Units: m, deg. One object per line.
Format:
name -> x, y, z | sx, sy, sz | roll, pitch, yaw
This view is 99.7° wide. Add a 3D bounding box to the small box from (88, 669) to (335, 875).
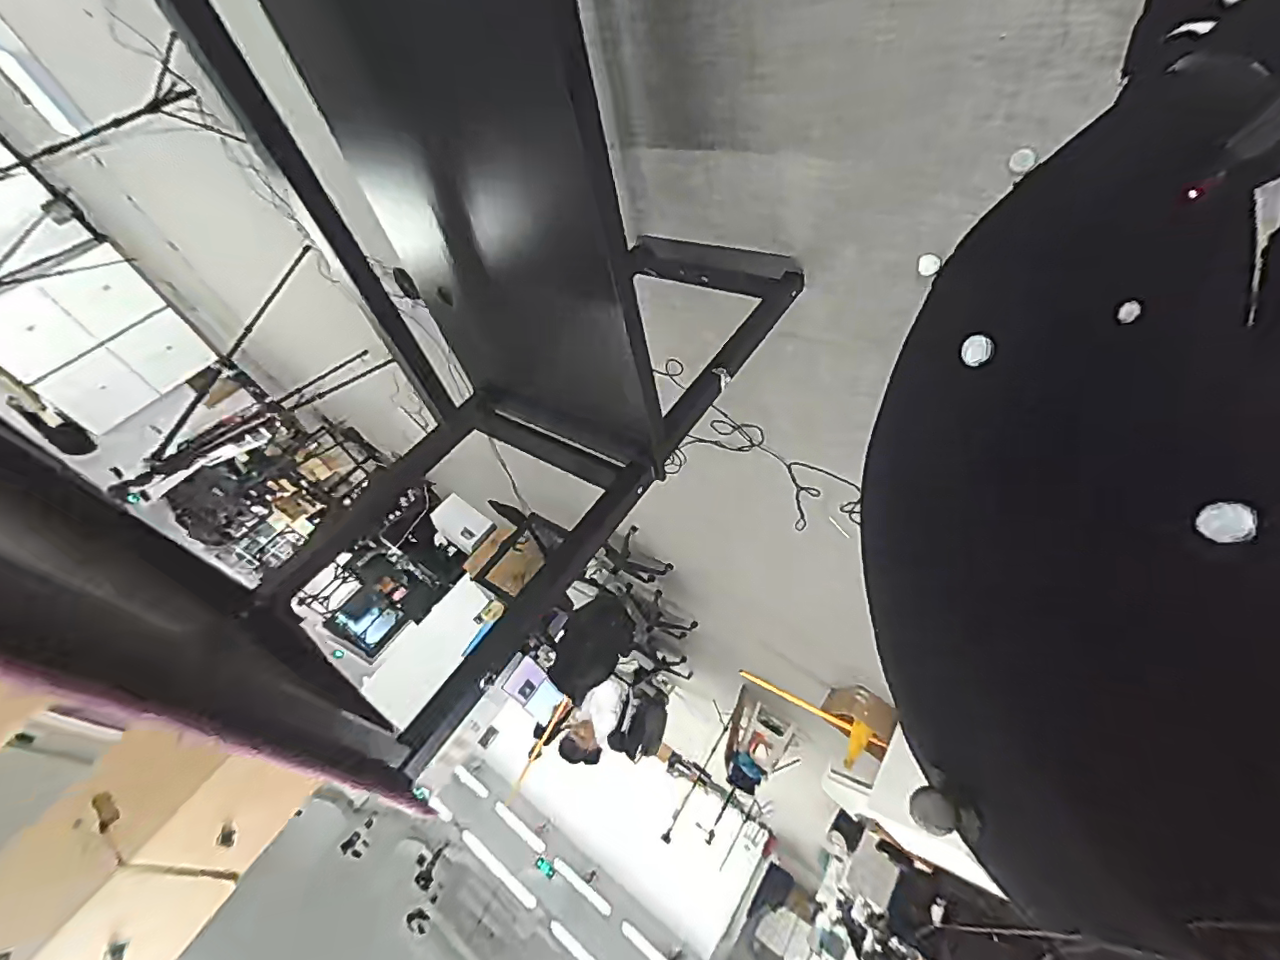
small box -> -0.567, 0.394, 0.739 | 0.168, 0.176, 0.179 | 22, 149, 29
